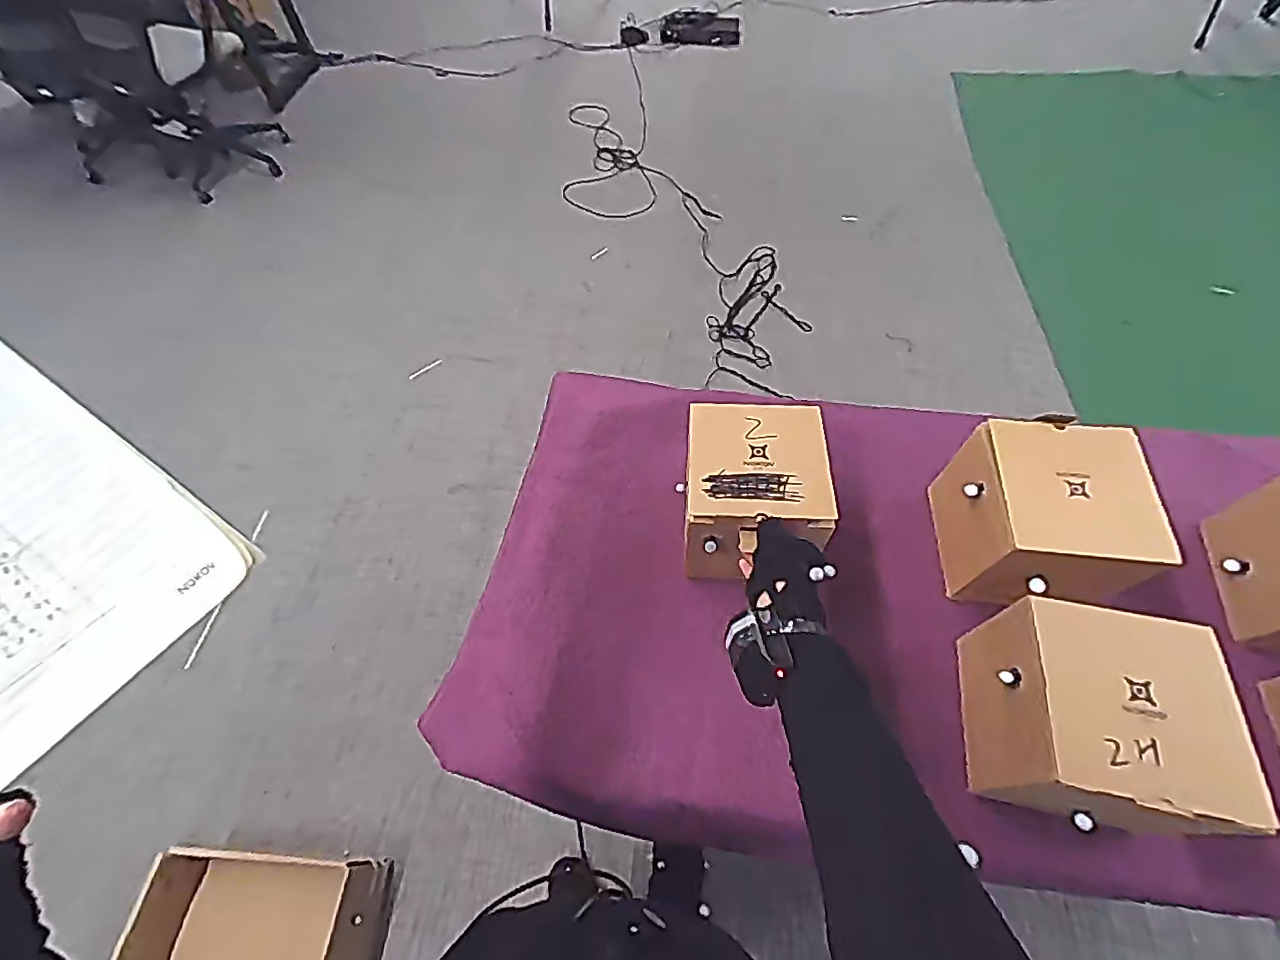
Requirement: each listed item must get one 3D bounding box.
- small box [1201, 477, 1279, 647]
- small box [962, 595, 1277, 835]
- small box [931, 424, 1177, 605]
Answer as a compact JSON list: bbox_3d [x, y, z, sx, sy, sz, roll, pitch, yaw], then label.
[{"bbox_3d":[0.825,0.103,0.626,0.168,0.176,0.179,11,60,10],"label":"small box"},{"bbox_3d":[0.456,0.243,0.558,0.168,0.176,0.179,9,59,9],"label":"small box"},{"bbox_3d":[0.492,0.053,0.679,0.168,0.176,0.179,5,58,6],"label":"small box"}]
